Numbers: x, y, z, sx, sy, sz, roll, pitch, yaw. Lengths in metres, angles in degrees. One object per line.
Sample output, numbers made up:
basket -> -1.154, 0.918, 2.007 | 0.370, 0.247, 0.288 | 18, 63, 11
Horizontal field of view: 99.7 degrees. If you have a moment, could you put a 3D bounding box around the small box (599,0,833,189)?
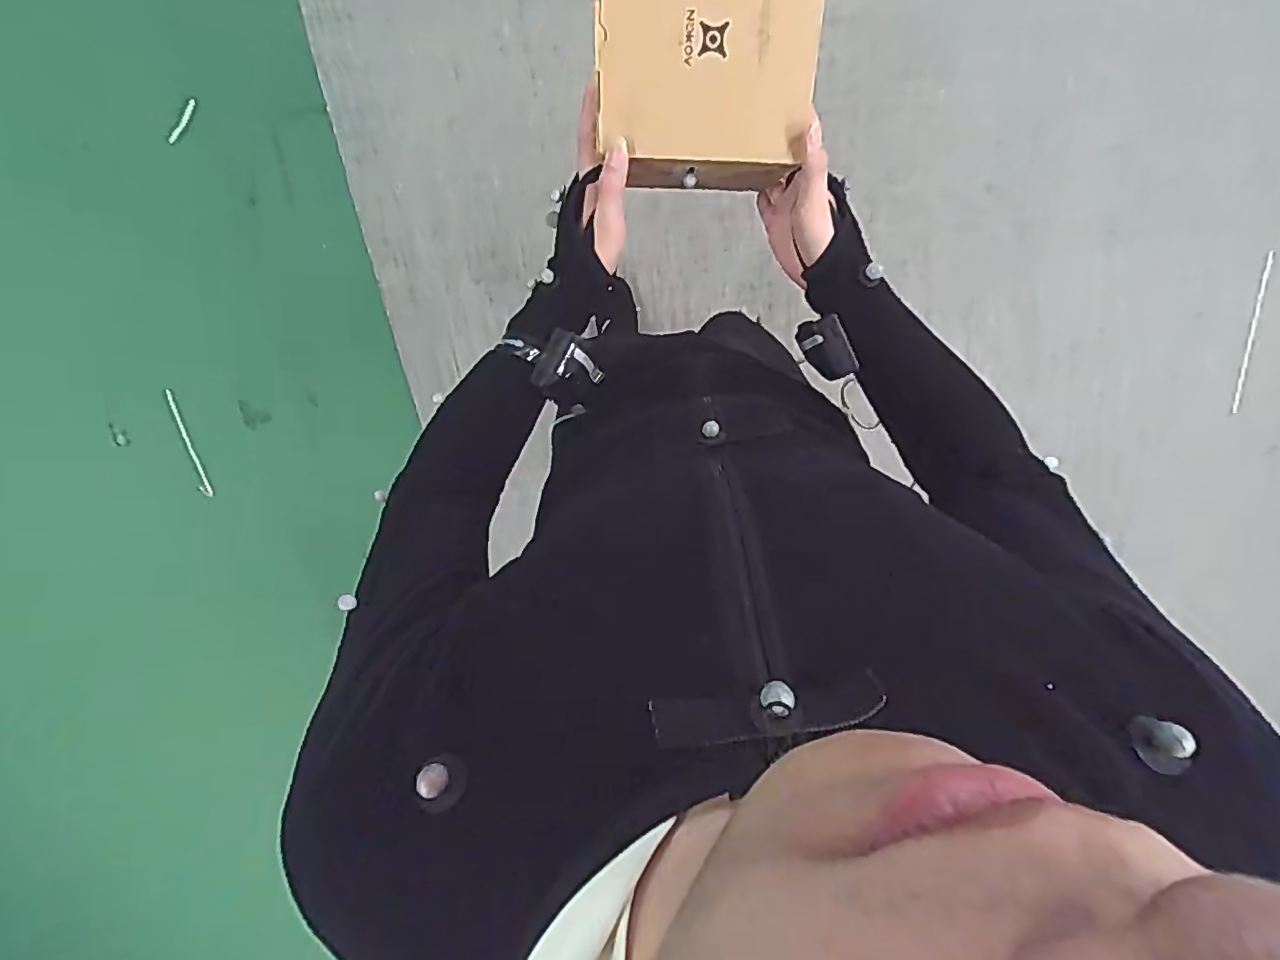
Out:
small box -> 0.058, -0.369, 0.488 | 0.179, 0.176, 0.168 | 2, 111, -1

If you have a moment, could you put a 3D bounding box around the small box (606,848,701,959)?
small box -> 0.028, 0.916, 1.131 | 0.179, 0.176, 0.168 | -10, 110, -1
